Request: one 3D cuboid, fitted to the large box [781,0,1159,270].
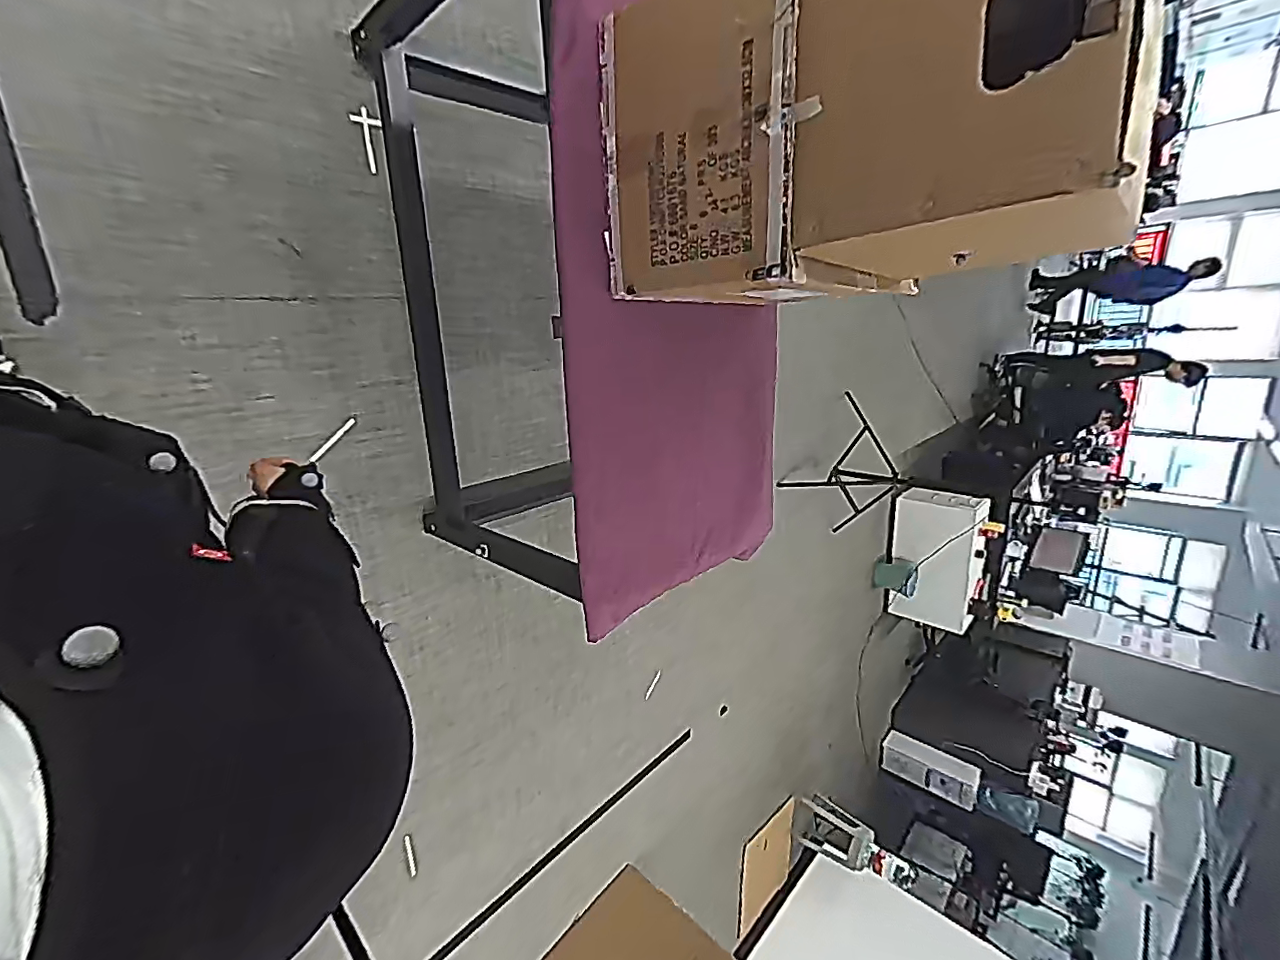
[{"bbox_3d":[0.417,-0.456,0.680,0.408,0.320,0.320,-15,106,-44],"label":"large box"}]
